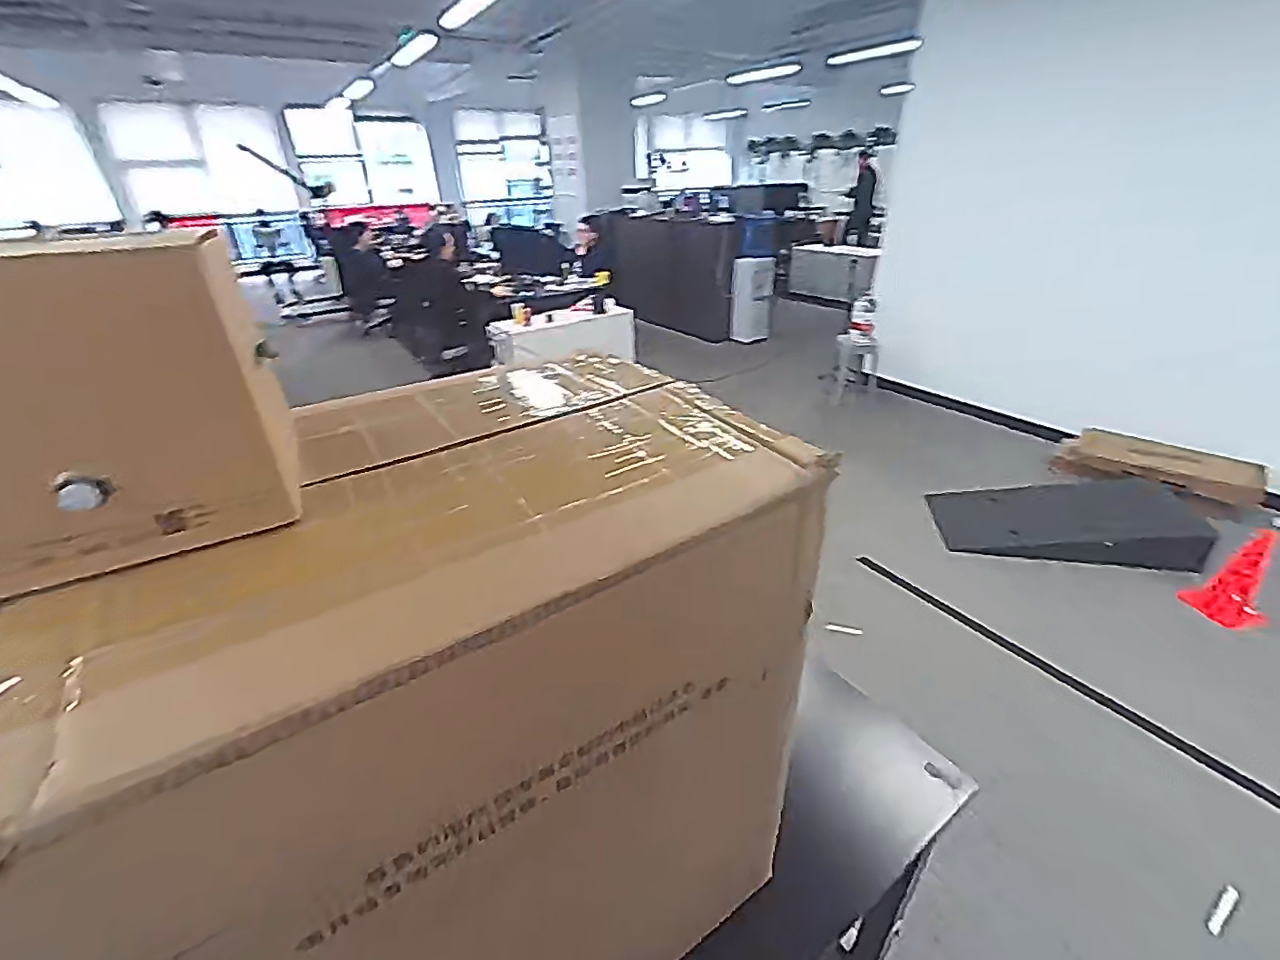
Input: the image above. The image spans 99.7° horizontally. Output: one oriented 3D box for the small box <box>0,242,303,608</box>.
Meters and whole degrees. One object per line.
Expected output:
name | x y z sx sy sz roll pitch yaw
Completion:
small box | -0.336 -0.051 0.345 0.168 0.176 0.179 -18 33 -26
